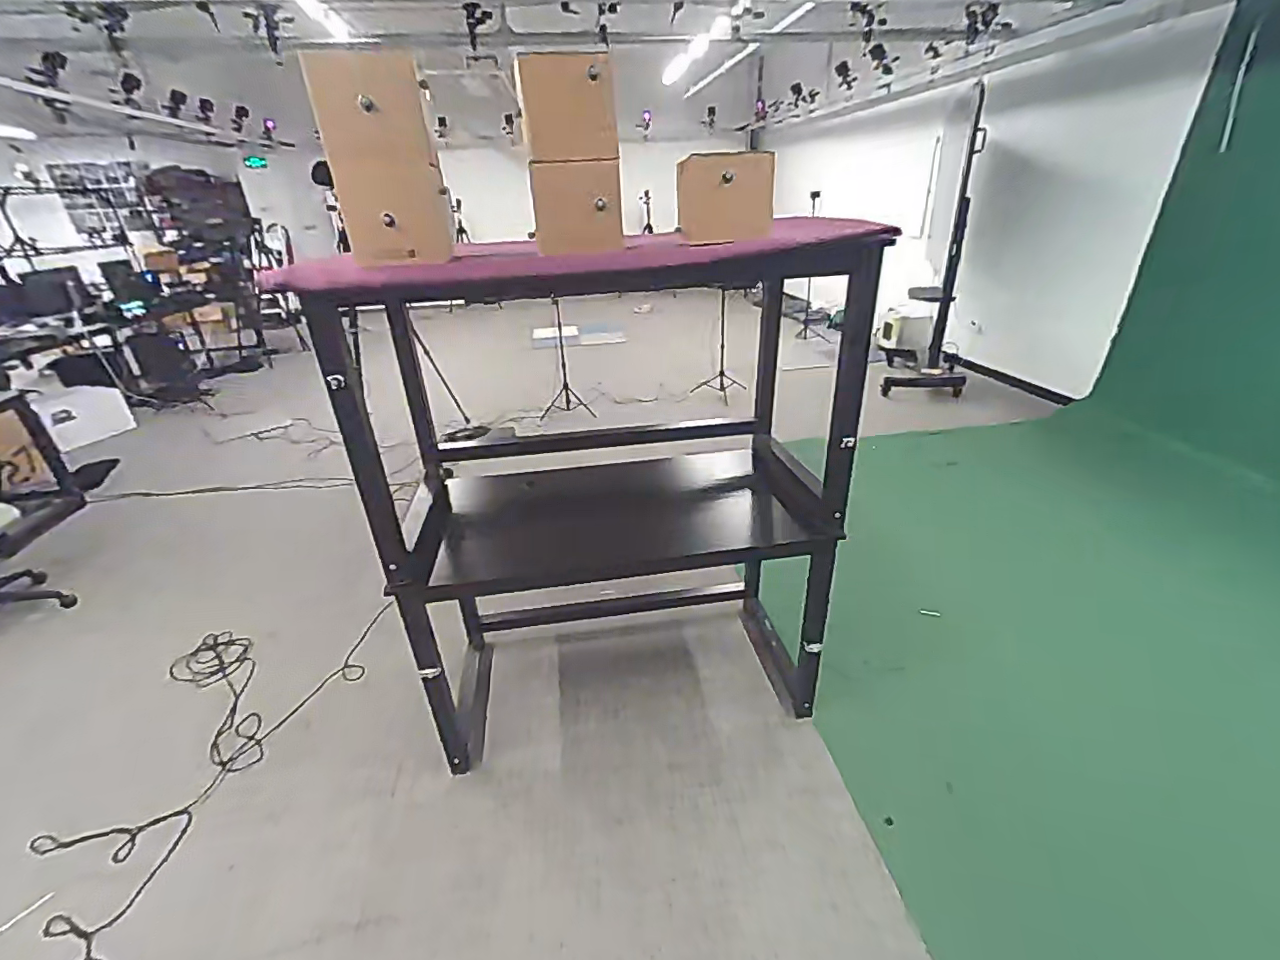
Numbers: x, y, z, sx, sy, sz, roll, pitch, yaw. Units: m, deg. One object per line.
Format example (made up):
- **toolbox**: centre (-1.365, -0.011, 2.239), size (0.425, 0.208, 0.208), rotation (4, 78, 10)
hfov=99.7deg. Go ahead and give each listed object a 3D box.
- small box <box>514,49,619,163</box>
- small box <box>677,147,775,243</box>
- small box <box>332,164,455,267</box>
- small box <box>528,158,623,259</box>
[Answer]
- **small box**: centre (-0.143, -0.706, 1.046), size (0.179, 0.176, 0.168), rotation (-8, 27, -9)
- **small box**: centre (0.182, -0.611, 1.176), size (0.179, 0.176, 0.168), rotation (-6, 26, -5)
- **small box**: centre (-0.464, -0.511, 1.049), size (0.168, 0.176, 0.179), rotation (-6, 28, -9)
- **small box**: centre (-0.131, -0.560, 1.118), size (0.179, 0.176, 0.168), rotation (-8, 27, -8)
